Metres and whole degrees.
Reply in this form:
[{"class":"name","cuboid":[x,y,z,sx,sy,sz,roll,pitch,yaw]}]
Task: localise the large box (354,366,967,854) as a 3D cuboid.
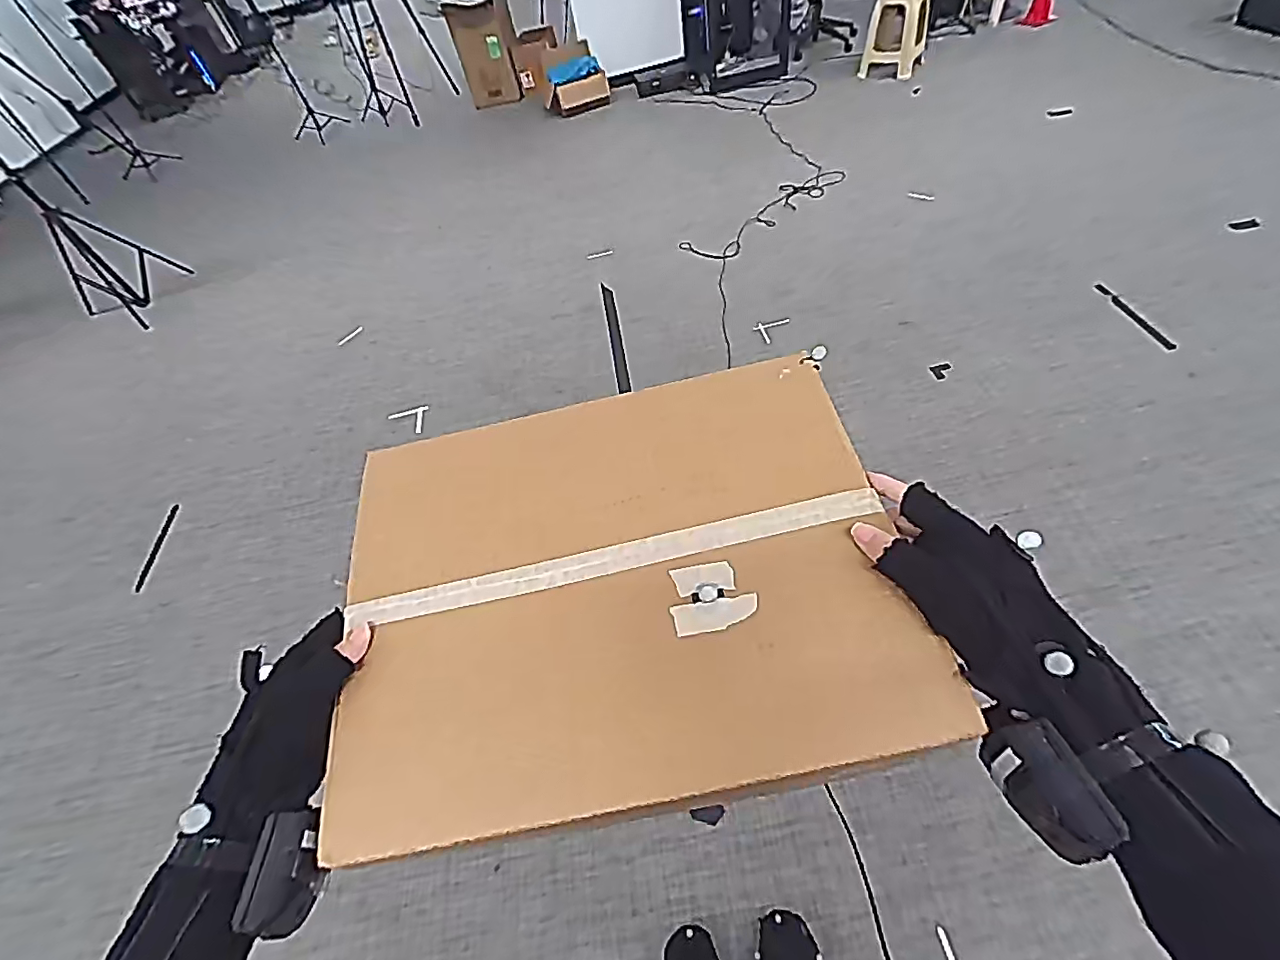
[{"class":"large box","cuboid":[0.004,0.143,0.540,0.408,0.320,0.320,-13,58,1]}]
